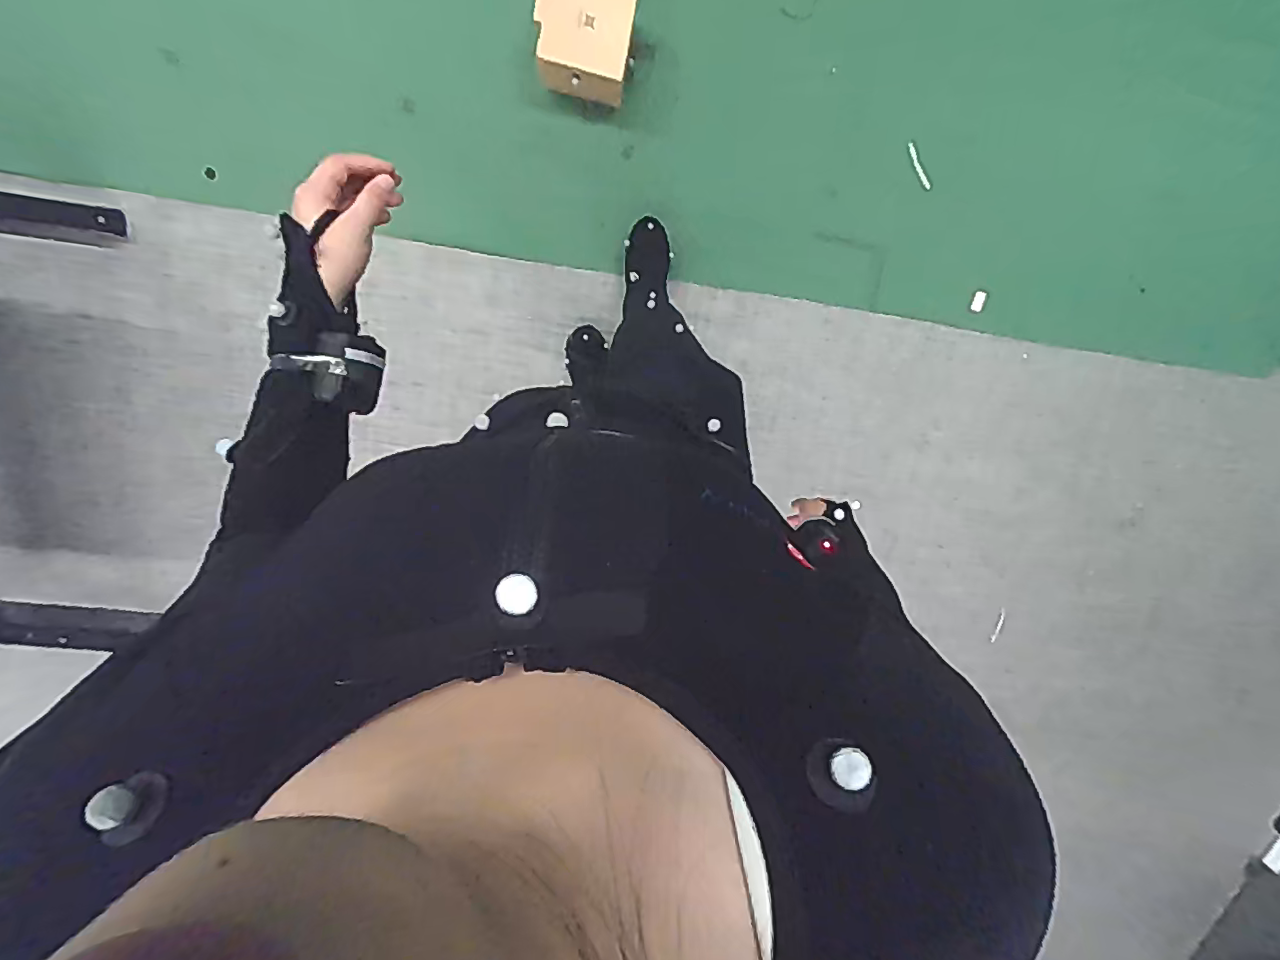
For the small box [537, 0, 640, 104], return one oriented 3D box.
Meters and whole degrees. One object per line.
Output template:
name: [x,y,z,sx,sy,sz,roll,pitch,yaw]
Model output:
small box: [-0.102,-0.906,1.113,0.179,0.176,0.168,11,108,-6]
